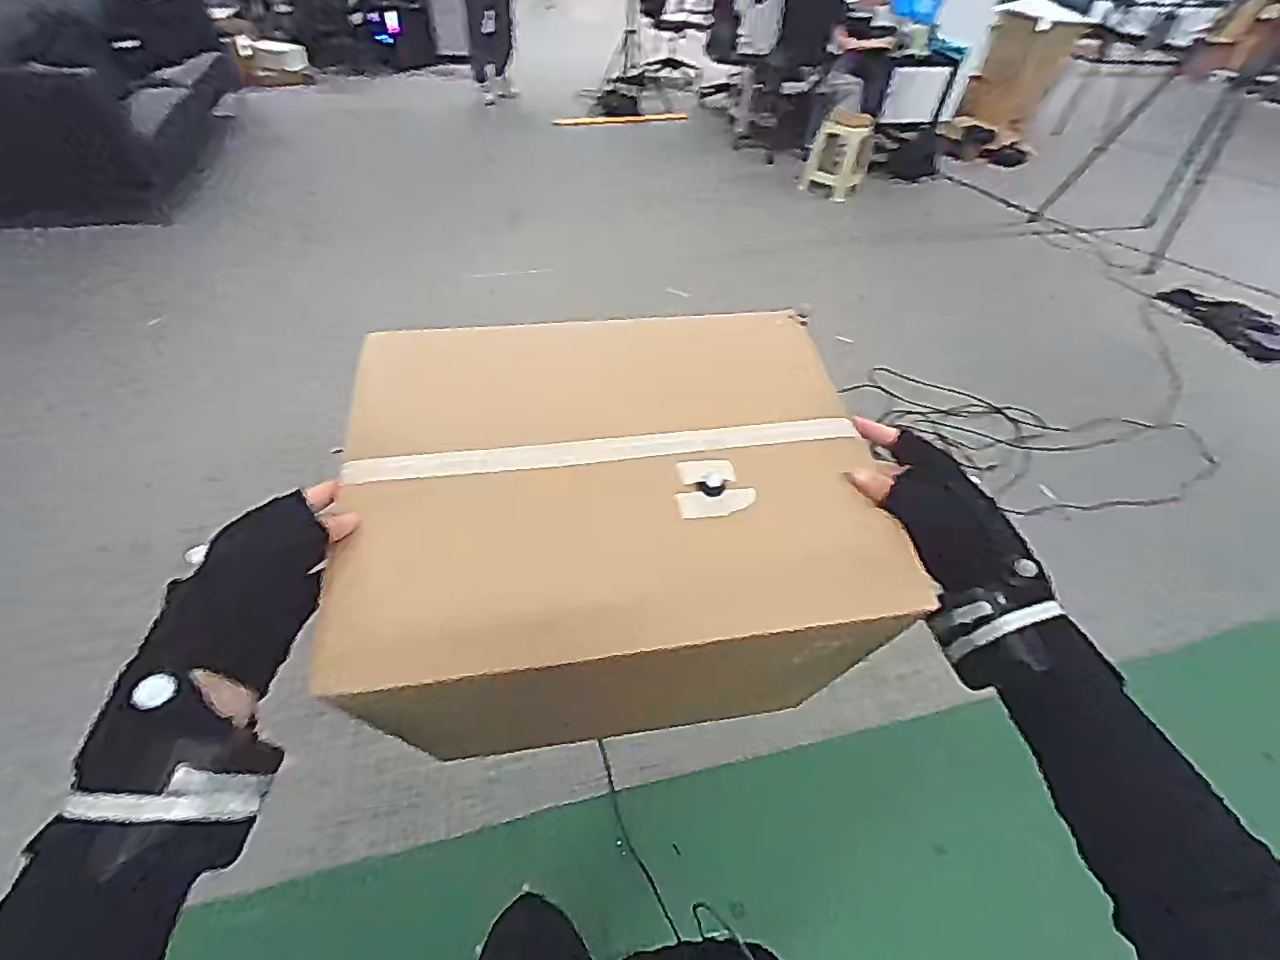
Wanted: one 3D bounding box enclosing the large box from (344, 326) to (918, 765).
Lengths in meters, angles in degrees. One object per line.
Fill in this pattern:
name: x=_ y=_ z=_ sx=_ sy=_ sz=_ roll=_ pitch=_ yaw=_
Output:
large box: x=-0.026 y=0.073 z=0.565 sx=0.408 sy=0.320 sz=0.320 roll=-6 pitch=57 yaw=-8
